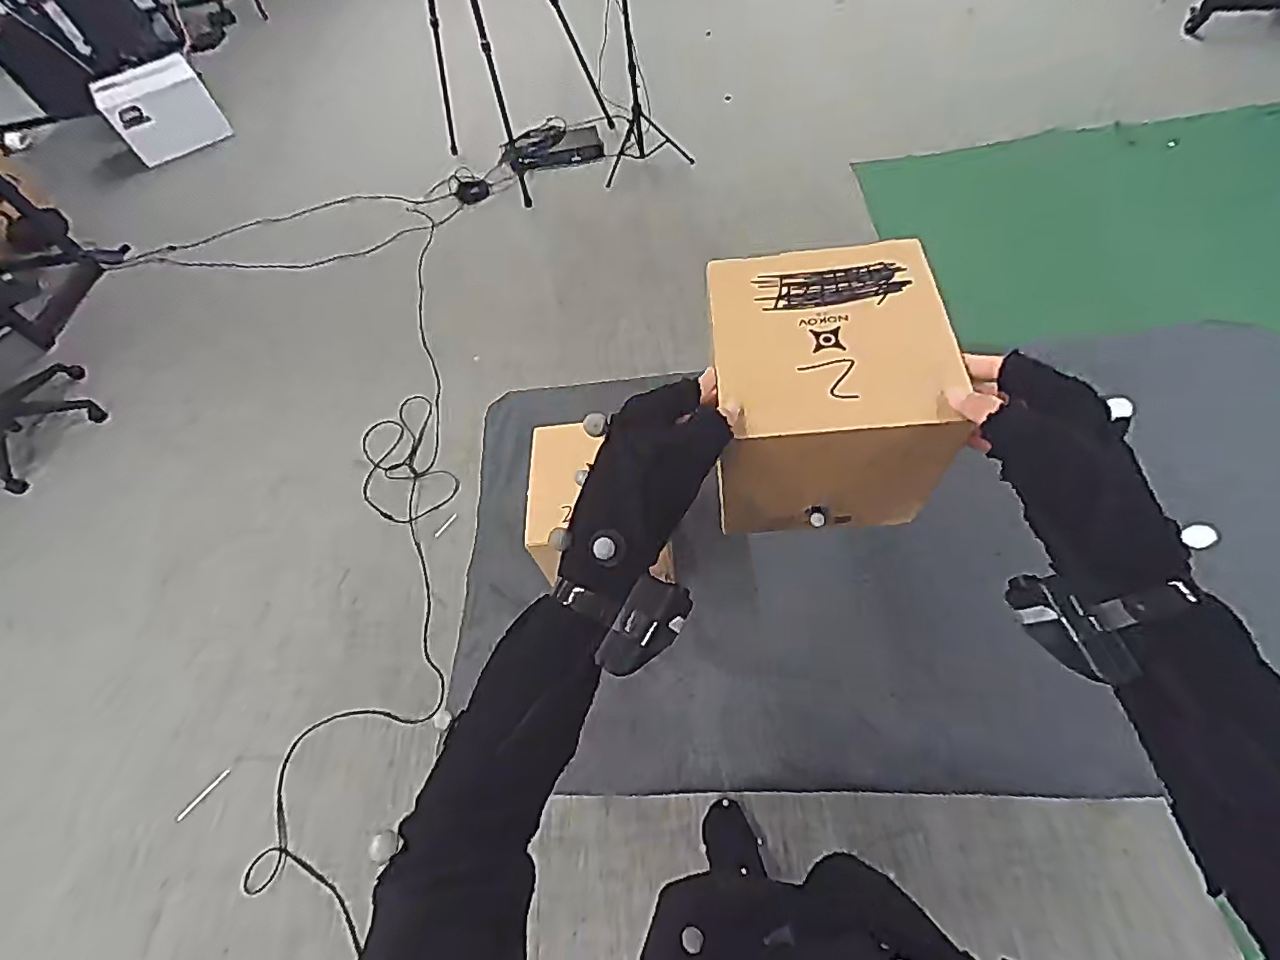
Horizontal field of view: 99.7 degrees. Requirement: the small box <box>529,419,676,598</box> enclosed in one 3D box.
[{"bbox_3d":[-0.042,0.043,0.732,0.168,0.176,0.179,-6,56,5],"label":"small box"}]
